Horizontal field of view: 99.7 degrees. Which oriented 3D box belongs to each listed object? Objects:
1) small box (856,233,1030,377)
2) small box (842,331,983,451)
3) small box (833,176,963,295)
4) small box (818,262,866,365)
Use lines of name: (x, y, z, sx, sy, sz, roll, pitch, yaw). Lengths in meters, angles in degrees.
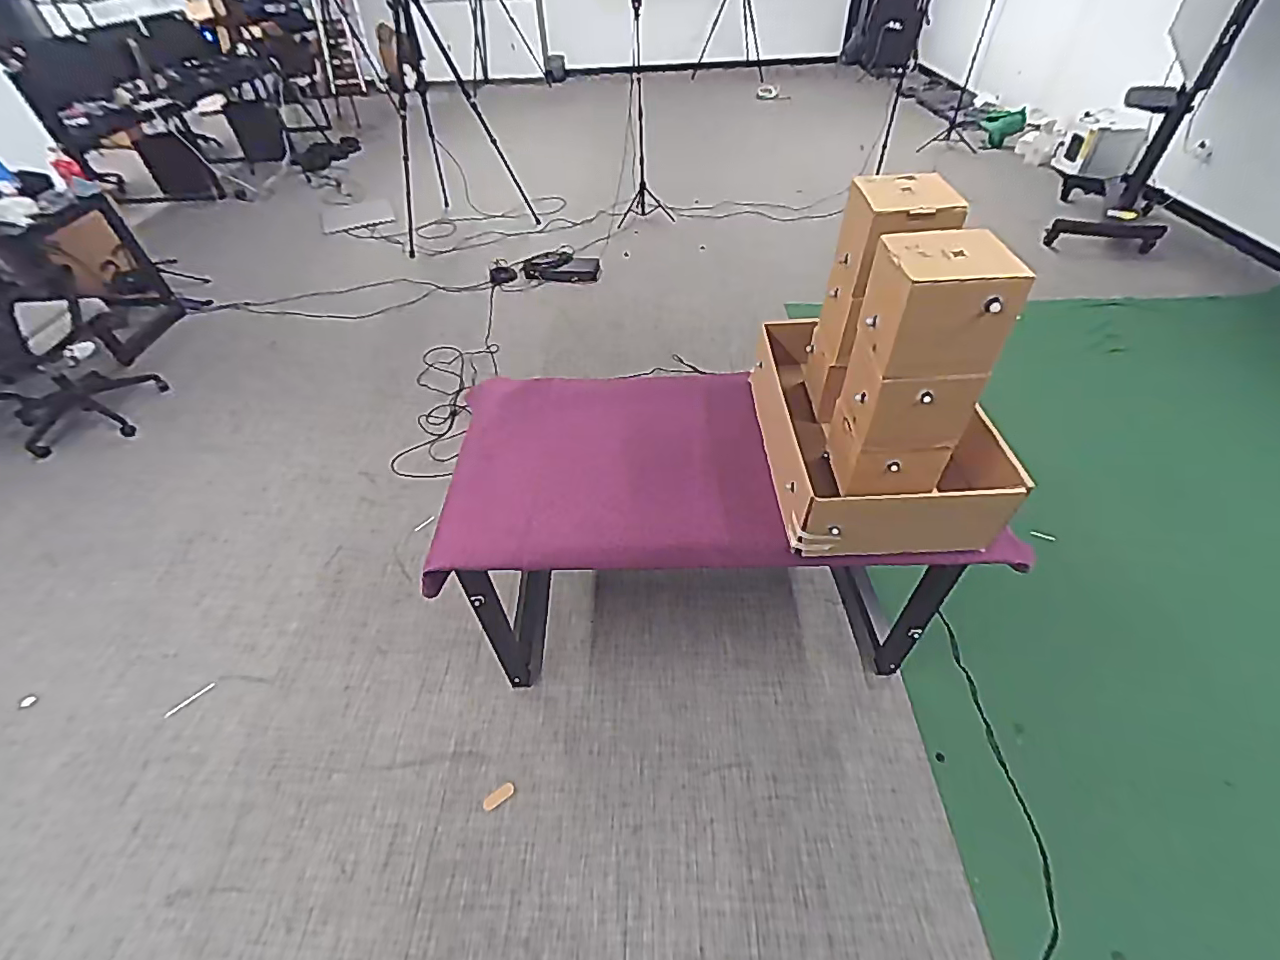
small box: (0.477, -0.283, 0.884, 0.179, 0.176, 0.168, -1, 46, 3)
small box: (0.486, -0.167, 1.001, 0.179, 0.176, 0.168, 0, 47, 4)
small box: (0.494, -0.475, 1.066, 0.168, 0.176, 0.179, 0, 48, 3)
small box: (0.500, -0.362, 1.185, 0.168, 0.176, 0.179, -1, 47, 3)
